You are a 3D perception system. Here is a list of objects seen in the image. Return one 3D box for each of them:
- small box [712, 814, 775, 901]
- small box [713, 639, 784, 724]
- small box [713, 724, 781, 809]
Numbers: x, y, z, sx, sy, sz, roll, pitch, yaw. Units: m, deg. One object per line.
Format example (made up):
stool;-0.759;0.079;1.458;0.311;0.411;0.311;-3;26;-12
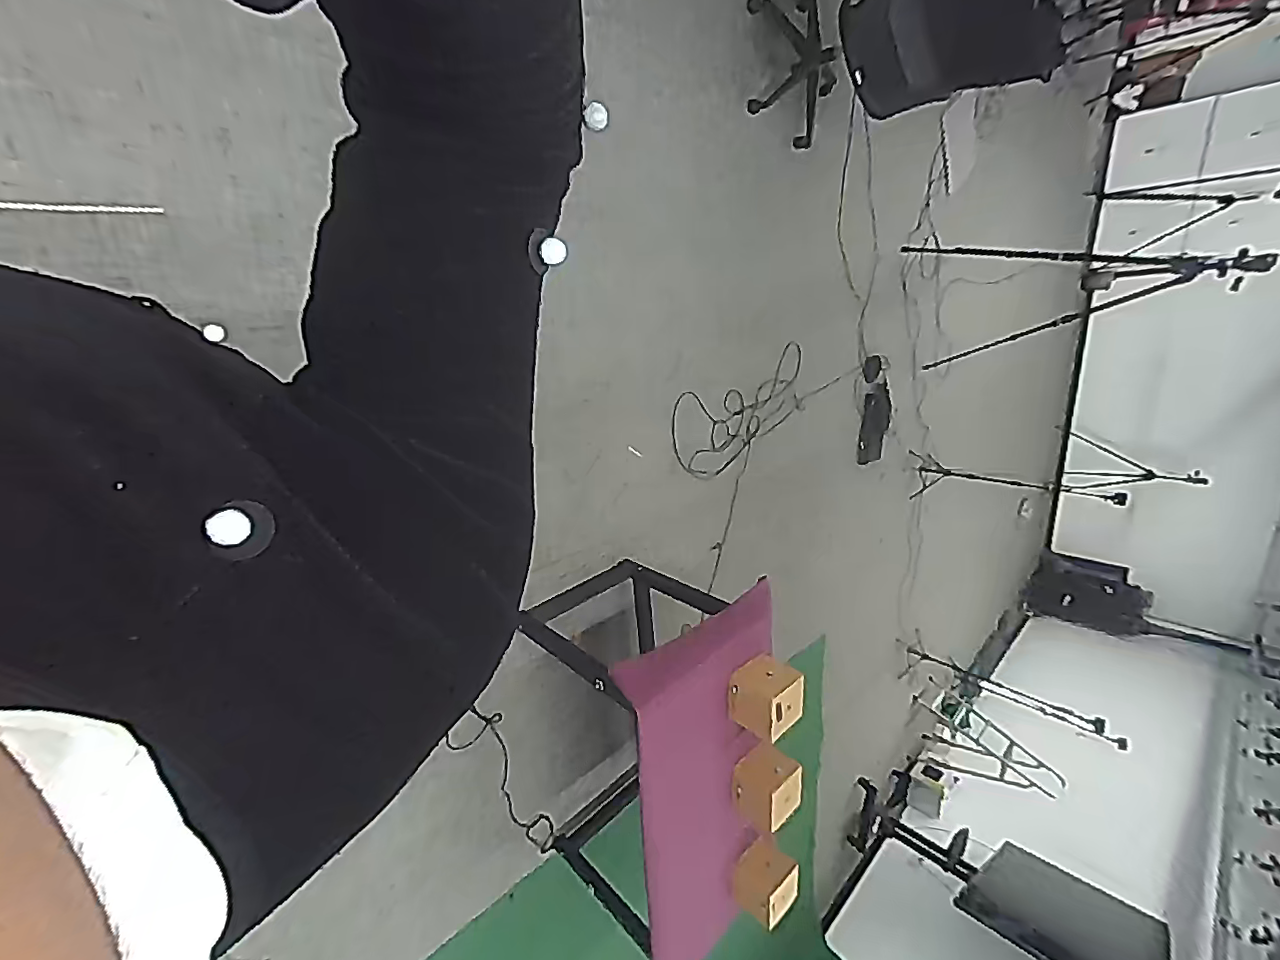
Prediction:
small box;0.394;1.429;2.062;0.179;0.176;0.168;-19;114;-40
small box;0.356;0.661;1.795;0.179;0.176;0.168;-19;115;-40
small box;0.381;1.013;1.929;0.179;0.176;0.168;-17;113;-40
